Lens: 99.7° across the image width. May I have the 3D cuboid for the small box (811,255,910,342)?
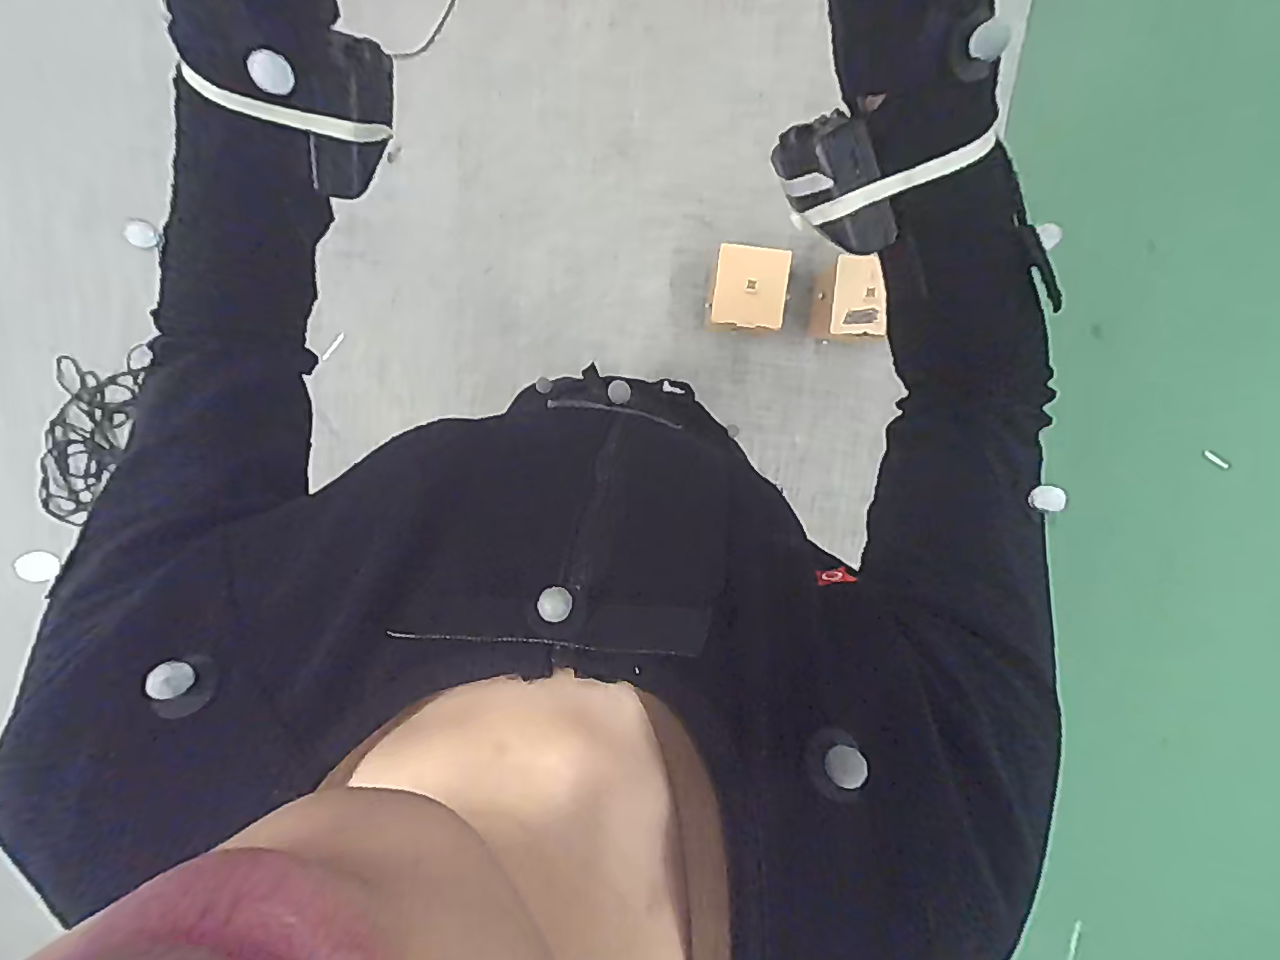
[{"bbox_3d":[0.521,-0.429,1.301,0.168,0.176,0.179,3,100,1],"label":"small box"}]

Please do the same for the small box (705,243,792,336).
[{"bbox_3d":[0.253,-0.451,1.305,0.168,0.176,0.179,6,101,0],"label":"small box"}]
